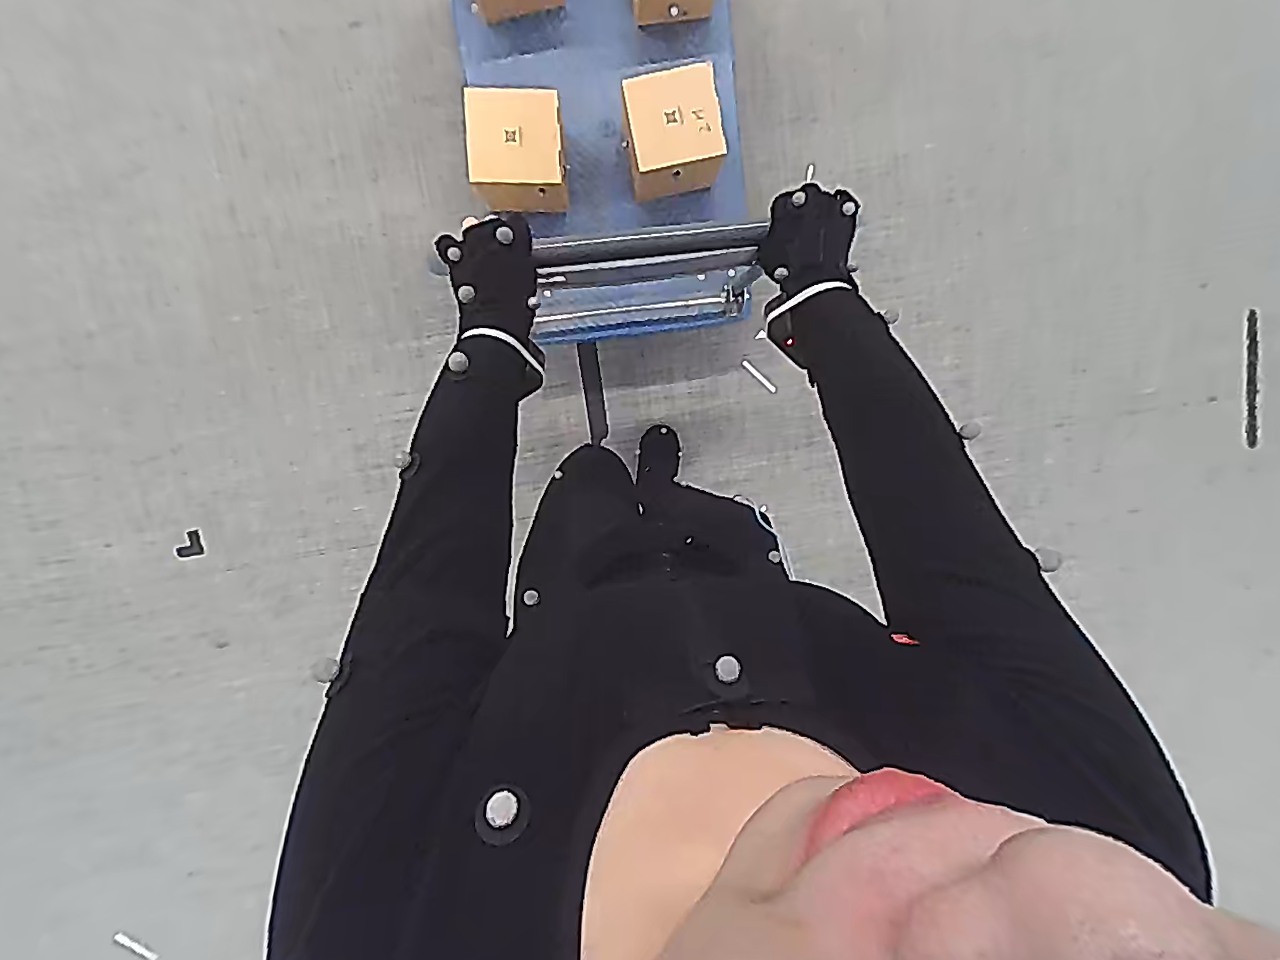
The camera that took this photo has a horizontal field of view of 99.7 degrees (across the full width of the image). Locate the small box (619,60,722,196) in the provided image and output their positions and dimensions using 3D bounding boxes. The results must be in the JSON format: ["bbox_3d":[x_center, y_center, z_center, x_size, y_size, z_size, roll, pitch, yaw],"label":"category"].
[{"bbox_3d":[0.057,-0.706,1.105,0.179,0.176,0.168,-12,100,-1],"label":"small box"}]

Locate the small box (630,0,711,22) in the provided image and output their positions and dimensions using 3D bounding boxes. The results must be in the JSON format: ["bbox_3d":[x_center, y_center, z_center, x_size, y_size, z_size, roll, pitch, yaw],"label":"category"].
[{"bbox_3d":[0.058,-1.047,1.049,0.168,0.176,0.179,-8,101,-2],"label":"small box"}]

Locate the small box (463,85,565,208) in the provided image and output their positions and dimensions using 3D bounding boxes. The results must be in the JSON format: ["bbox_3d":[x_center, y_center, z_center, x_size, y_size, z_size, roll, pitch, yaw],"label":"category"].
[{"bbox_3d":[-0.247,-0.665,1.098,0.179,0.176,0.168,-2,99,-4],"label":"small box"}]
